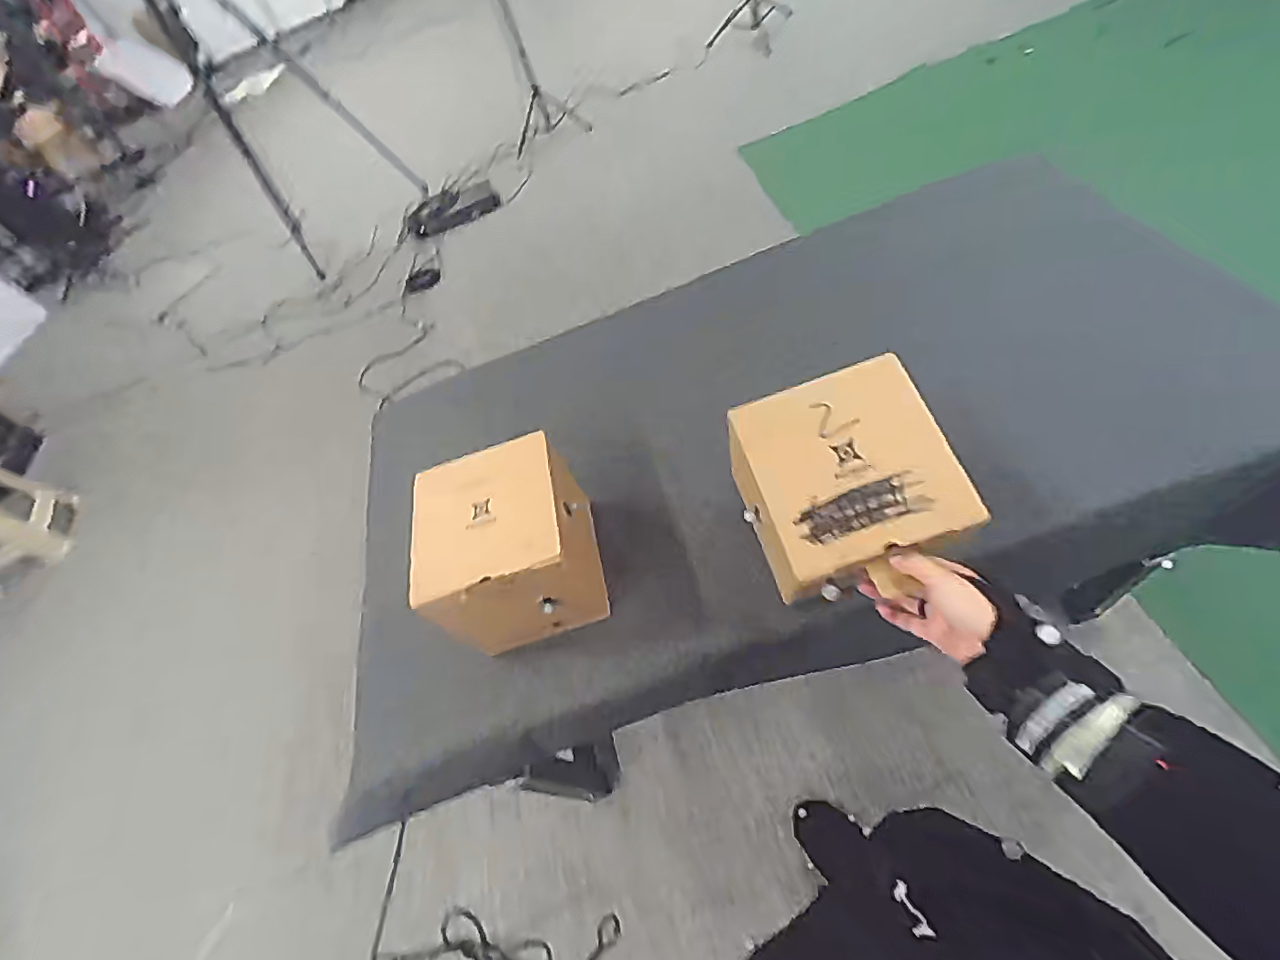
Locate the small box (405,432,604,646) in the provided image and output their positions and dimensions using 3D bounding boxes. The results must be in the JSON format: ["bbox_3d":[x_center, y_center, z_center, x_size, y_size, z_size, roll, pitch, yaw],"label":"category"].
[{"bbox_3d":[-0.151,0.080,0.637,0.168,0.176,0.179,-18,52,3],"label":"small box"}]
